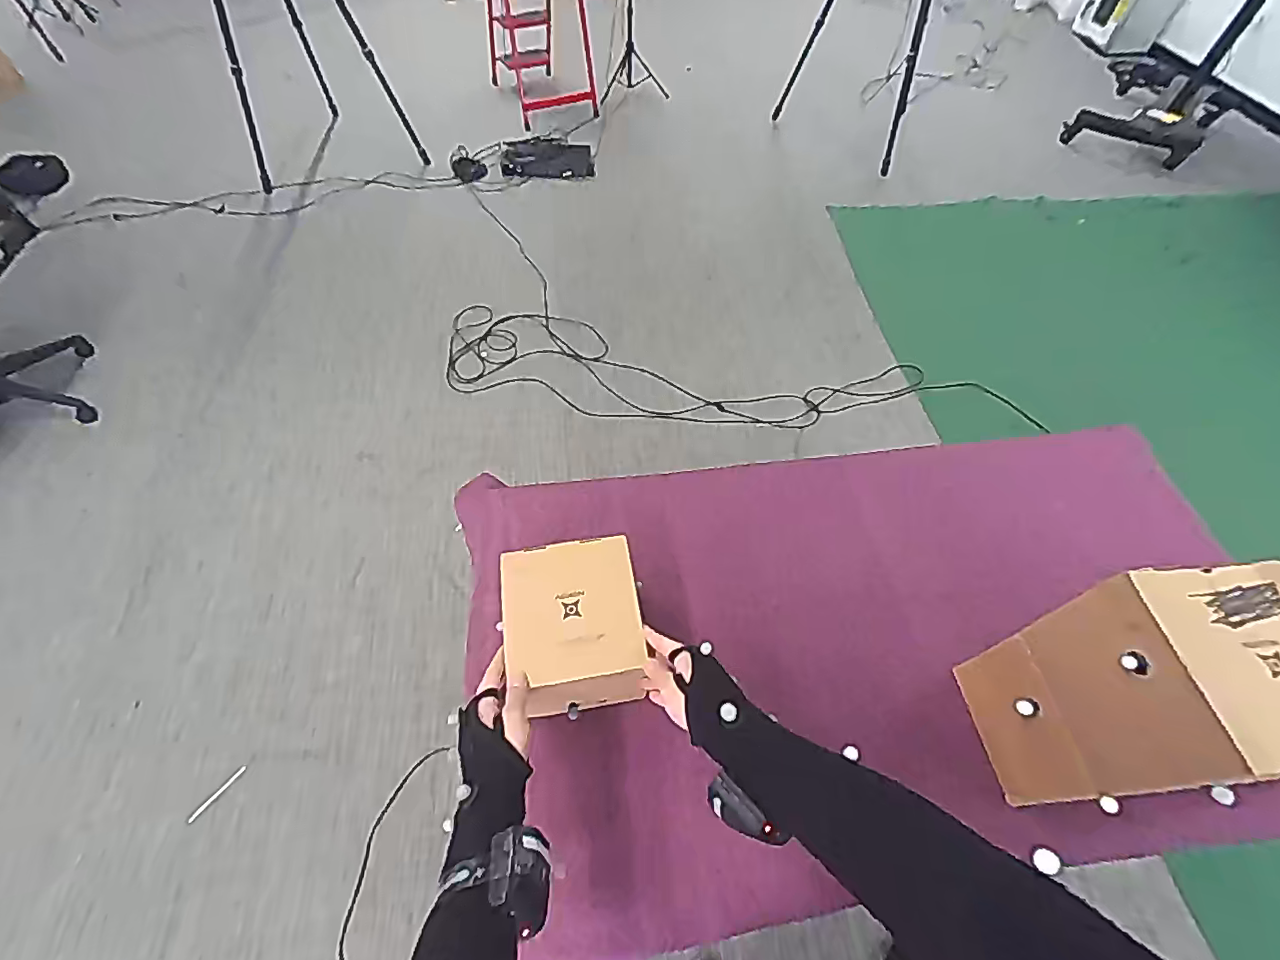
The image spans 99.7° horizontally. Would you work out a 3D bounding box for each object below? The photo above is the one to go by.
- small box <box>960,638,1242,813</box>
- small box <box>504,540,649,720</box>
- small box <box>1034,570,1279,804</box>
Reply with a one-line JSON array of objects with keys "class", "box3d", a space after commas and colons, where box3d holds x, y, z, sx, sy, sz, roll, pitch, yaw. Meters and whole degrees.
[{"class": "small box", "box3d": [0.541, 0.302, 0.666, 0.168, 0.176, 0.179, -3, 55, -3]}, {"class": "small box", "box3d": [-0.084, 0.202, 0.720, 0.168, 0.176, 0.179, -7, 57, -6]}, {"class": "small box", "box3d": [0.545, 0.207, 0.533, 0.168, 0.176, 0.179, -3, 55, -3]}]
